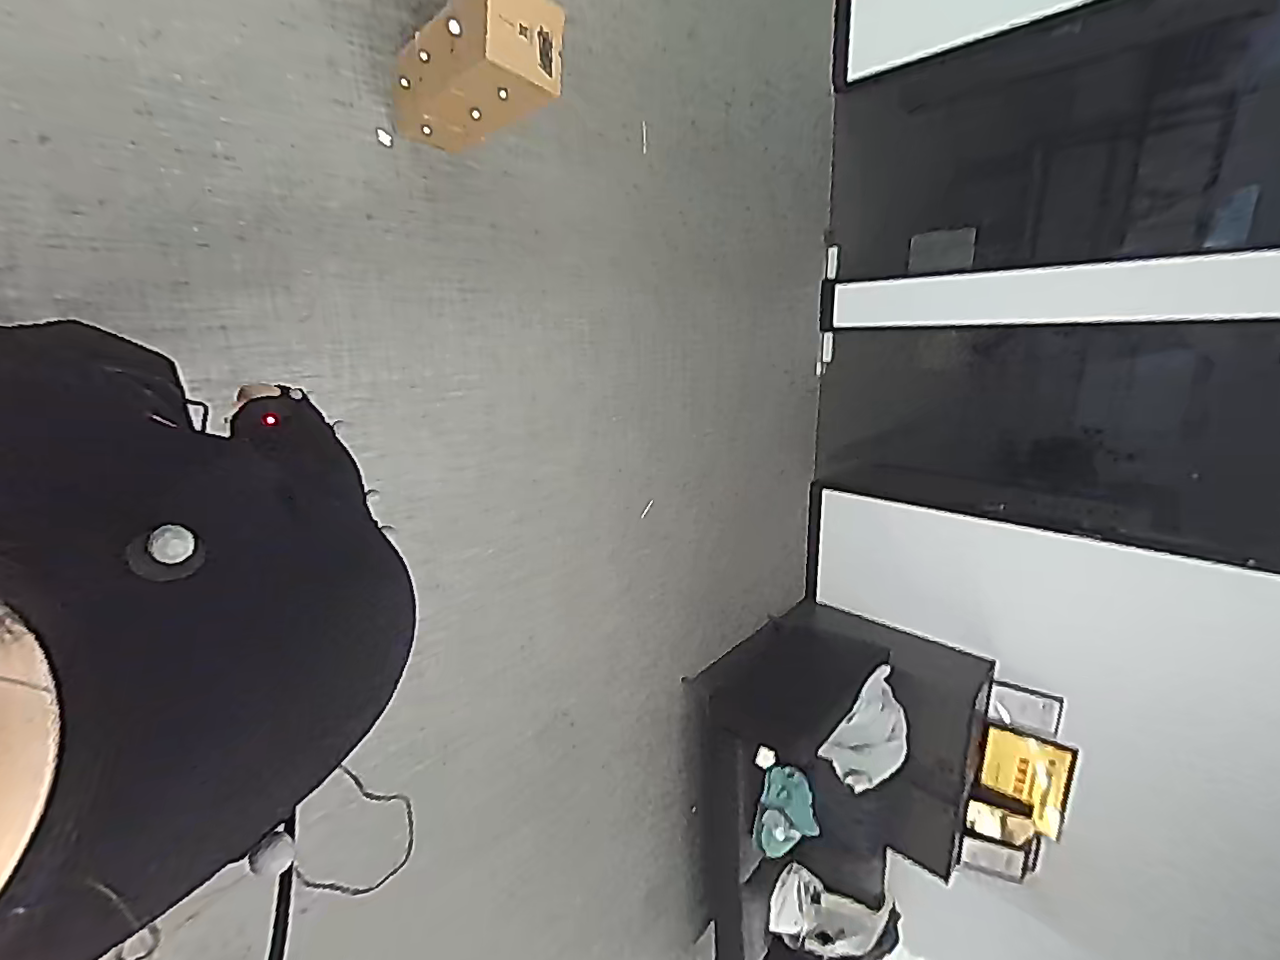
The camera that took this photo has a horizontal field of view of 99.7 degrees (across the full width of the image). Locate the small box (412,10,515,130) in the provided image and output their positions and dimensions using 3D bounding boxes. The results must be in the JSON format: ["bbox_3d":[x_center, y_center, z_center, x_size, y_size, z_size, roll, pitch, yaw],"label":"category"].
[{"bbox_3d":[-0.403,-0.934,1.243,0.179,0.176,0.168,-7,106,-45],"label":"small box"}]

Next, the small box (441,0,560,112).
[{"bbox_3d":[-0.292,-0.902,1.126,0.179,0.176,0.168,-4,104,-44],"label":"small box"}]
